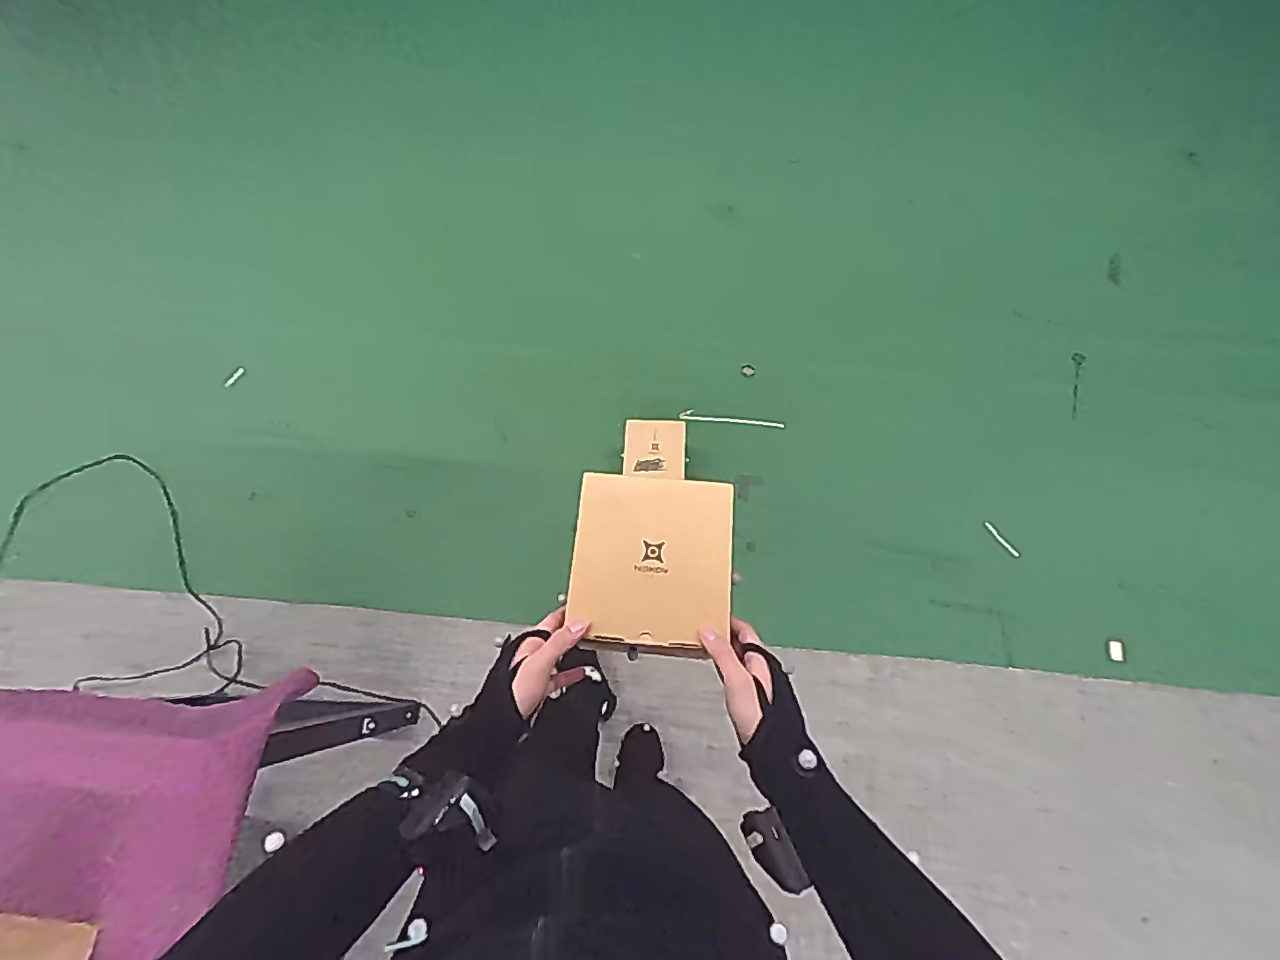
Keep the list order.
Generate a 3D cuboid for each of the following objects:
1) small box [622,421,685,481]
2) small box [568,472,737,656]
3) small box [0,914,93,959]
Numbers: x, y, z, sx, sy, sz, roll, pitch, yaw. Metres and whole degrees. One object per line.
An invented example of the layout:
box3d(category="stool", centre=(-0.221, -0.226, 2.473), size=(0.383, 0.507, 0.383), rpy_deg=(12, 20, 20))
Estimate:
box3d(category="small box", centre=(0.041, -0.051, 1.530), size=(0.168, 0.176, 0.179), rpy_deg=(2, 71, 3))
box3d(category="small box", centre=(0.014, 0.106, 0.635), size=(0.168, 0.176, 0.179), rpy_deg=(5, 71, 1))
box3d(category="small box", centre=(-0.769, 0.598, 0.574), size=(0.179, 0.176, 0.168), rpy_deg=(3, 73, 4))
